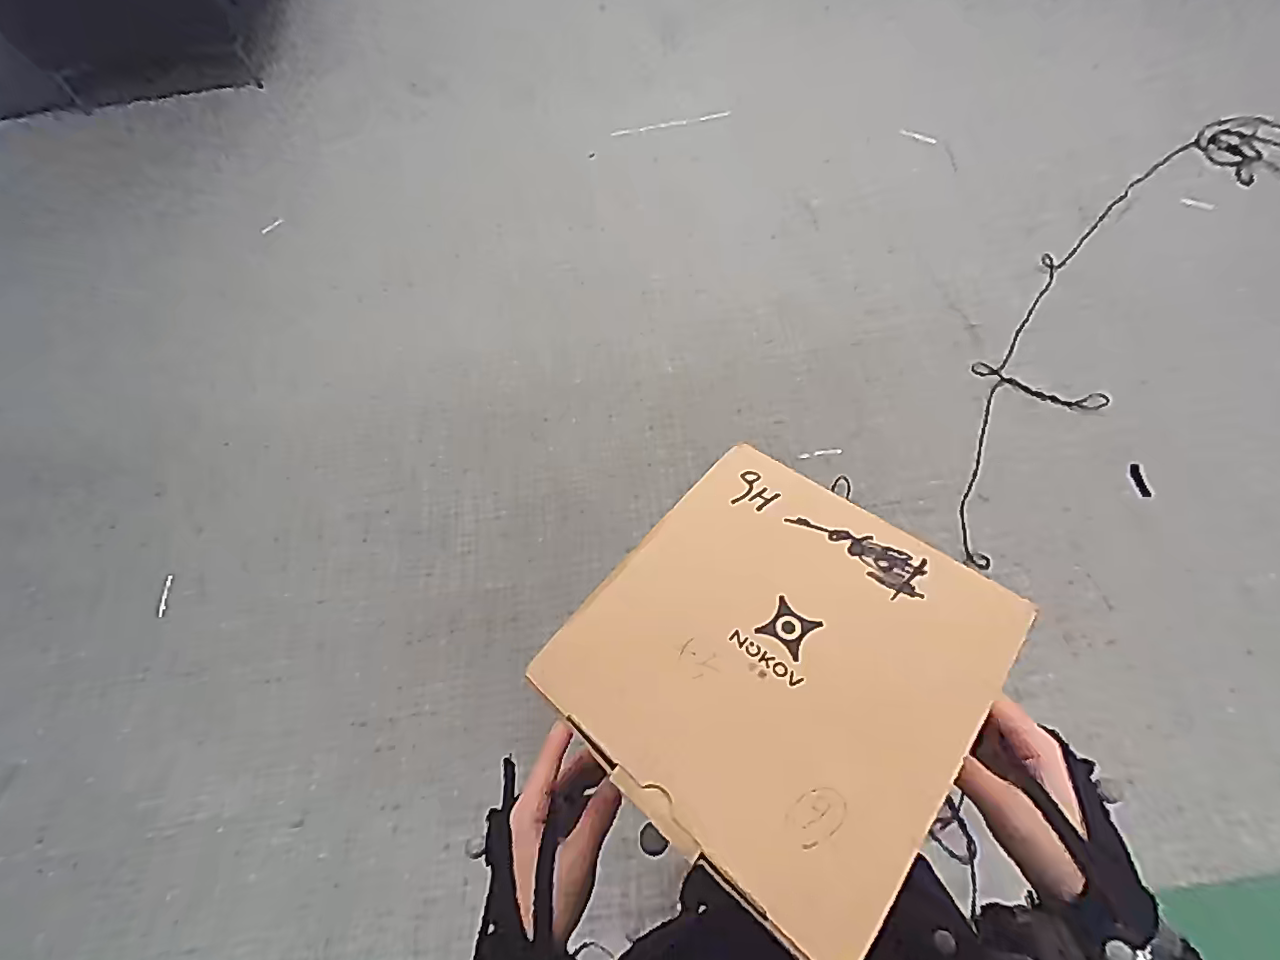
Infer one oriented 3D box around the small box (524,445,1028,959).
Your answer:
[{"bbox_3d":[0.070,0.120,0.313,0.168,0.176,0.179,34,66,27],"label":"small box"}]
